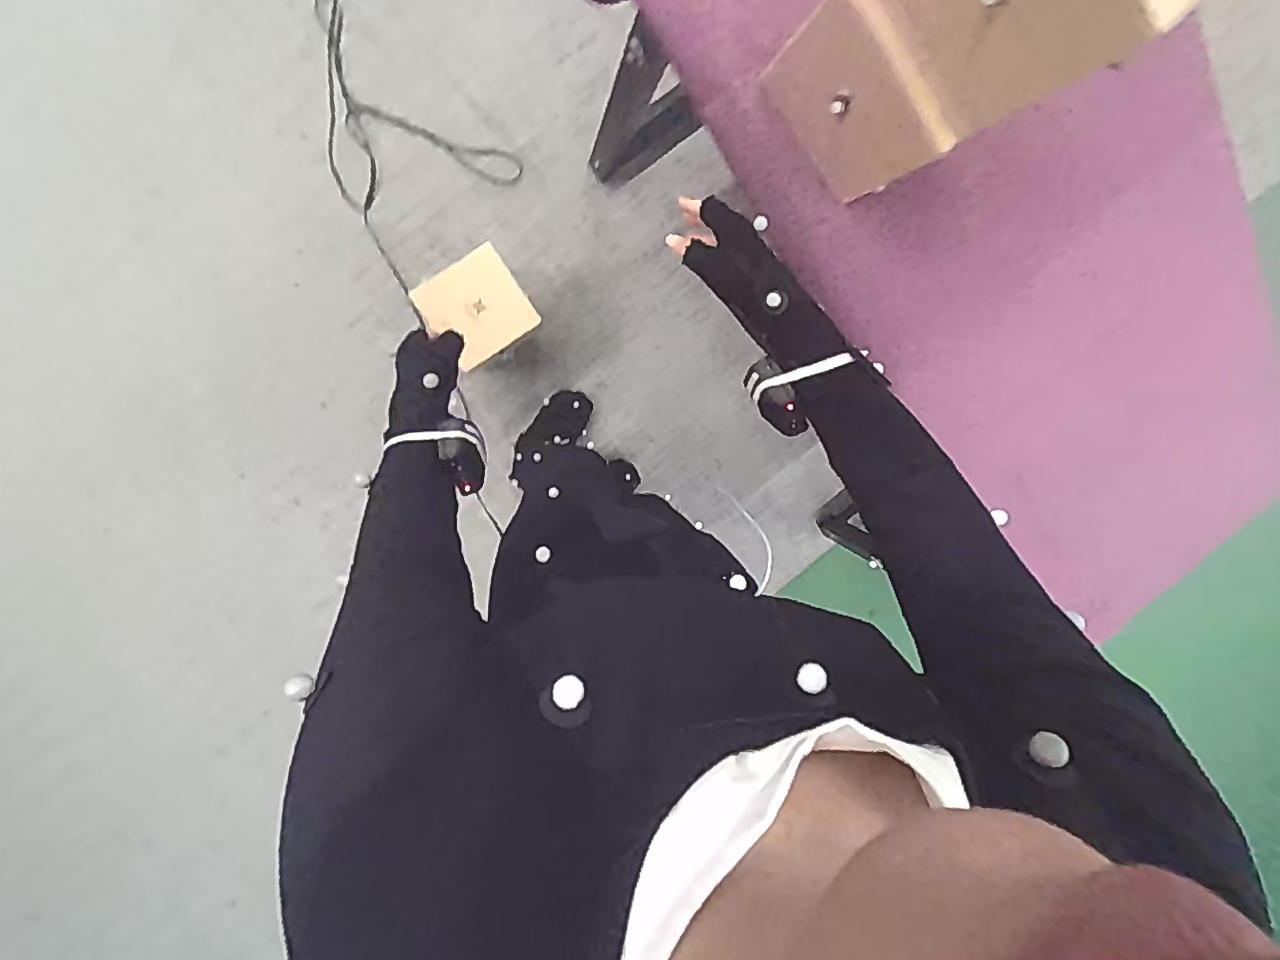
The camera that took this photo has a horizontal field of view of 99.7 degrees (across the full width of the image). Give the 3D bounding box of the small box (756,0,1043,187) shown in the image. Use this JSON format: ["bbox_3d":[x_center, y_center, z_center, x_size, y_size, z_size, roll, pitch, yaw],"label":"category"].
[{"bbox_3d":[0.259,-0.443,0.571,0.168,0.176,0.179,-44,108,-1],"label":"small box"}]
